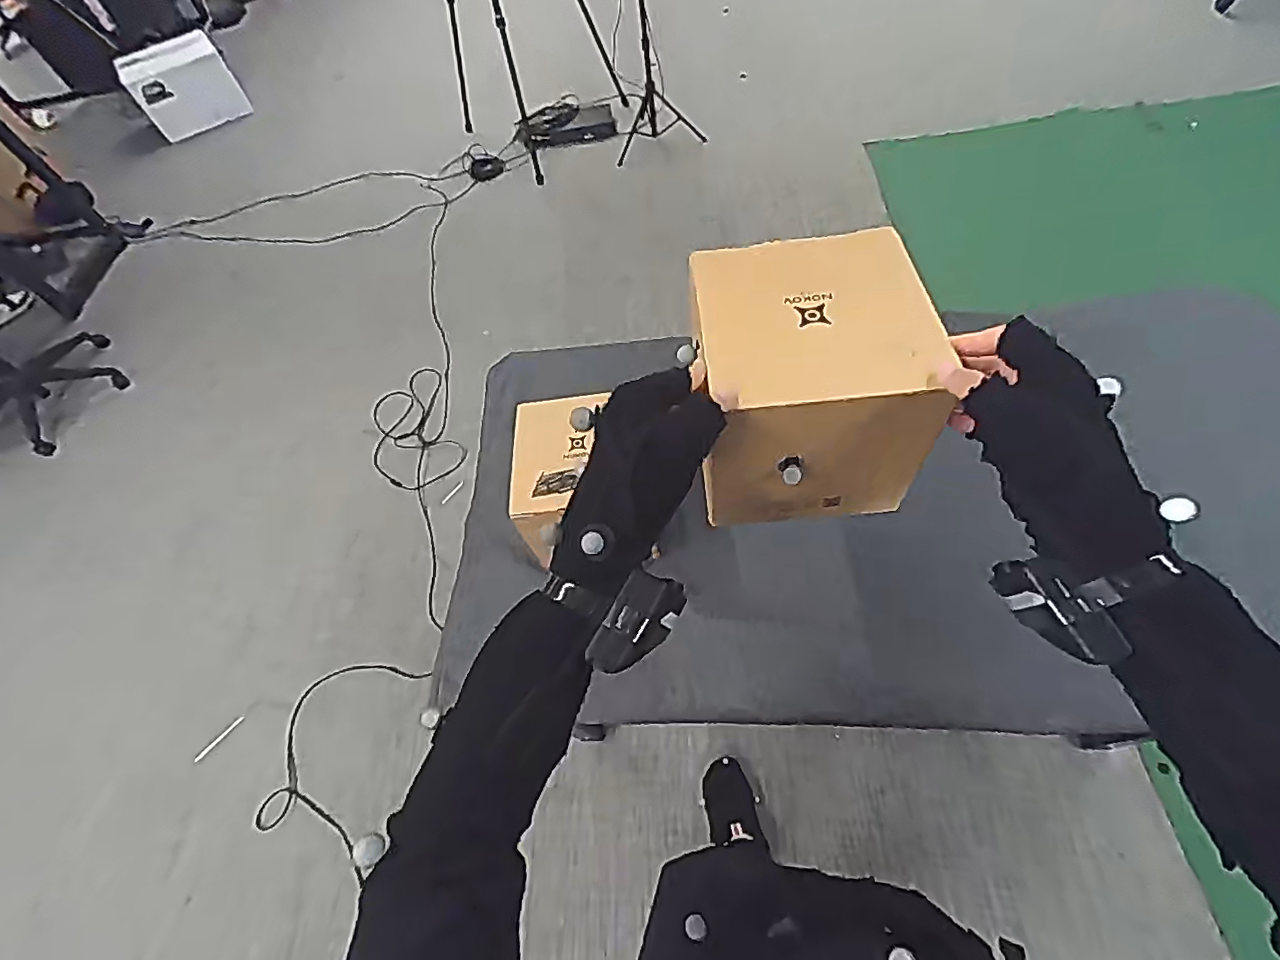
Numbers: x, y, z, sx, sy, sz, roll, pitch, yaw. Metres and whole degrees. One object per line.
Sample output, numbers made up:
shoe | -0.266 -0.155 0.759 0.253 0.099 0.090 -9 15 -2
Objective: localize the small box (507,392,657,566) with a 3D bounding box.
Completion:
small box | -0.069 0.008 0.736 0.168 0.176 0.179 -7 57 4

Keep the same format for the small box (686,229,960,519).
small box | 0.132 -0.077 0.459 0.168 0.176 0.179 -6 56 5
